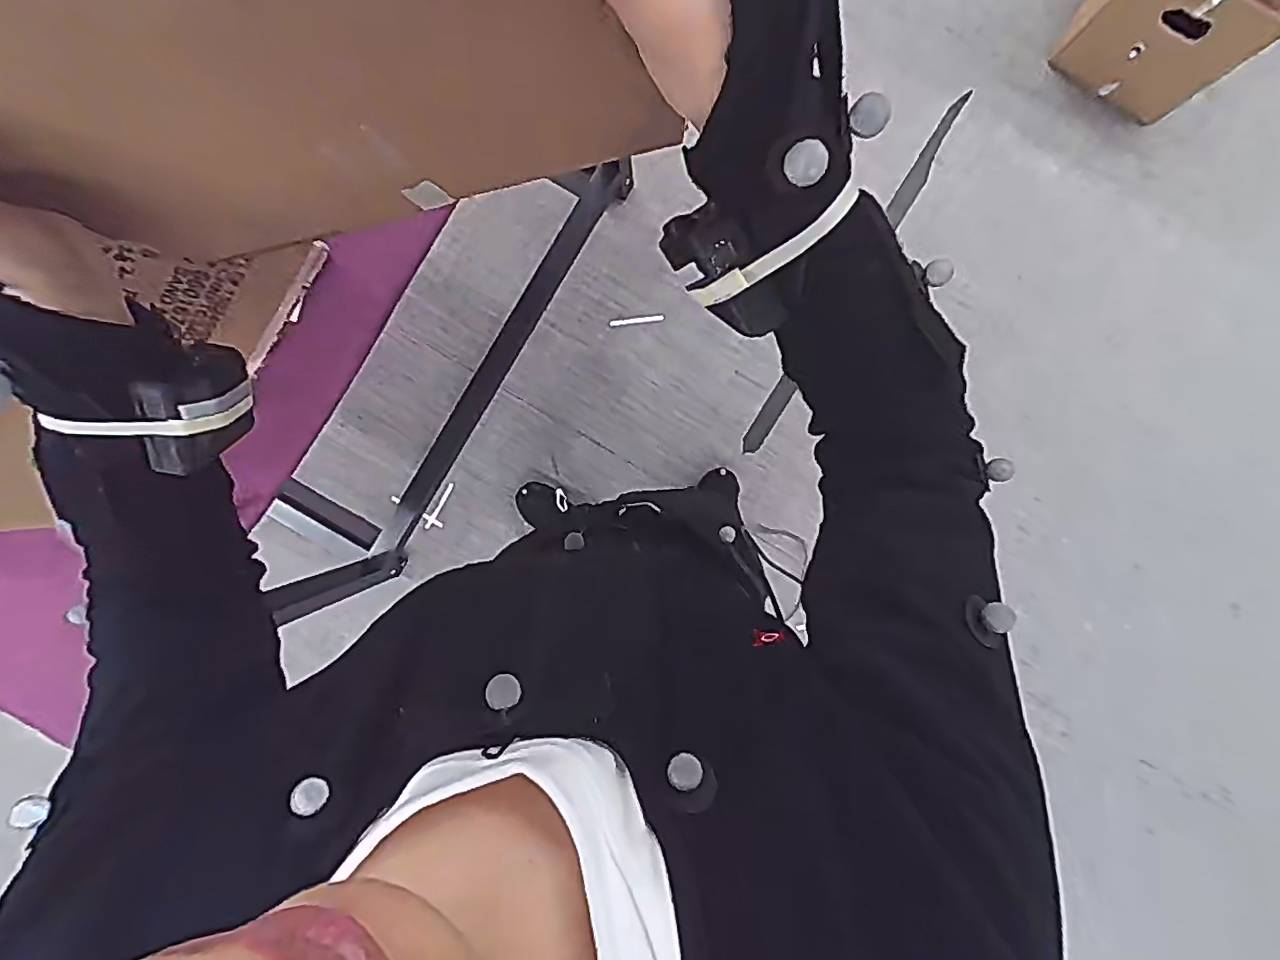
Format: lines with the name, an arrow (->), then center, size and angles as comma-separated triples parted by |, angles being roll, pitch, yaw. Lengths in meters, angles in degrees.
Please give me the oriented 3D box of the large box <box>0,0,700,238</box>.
large box -> -0.167, -0.349, 0.155 | 0.320, 0.320, 0.408 | -13, 98, 4
